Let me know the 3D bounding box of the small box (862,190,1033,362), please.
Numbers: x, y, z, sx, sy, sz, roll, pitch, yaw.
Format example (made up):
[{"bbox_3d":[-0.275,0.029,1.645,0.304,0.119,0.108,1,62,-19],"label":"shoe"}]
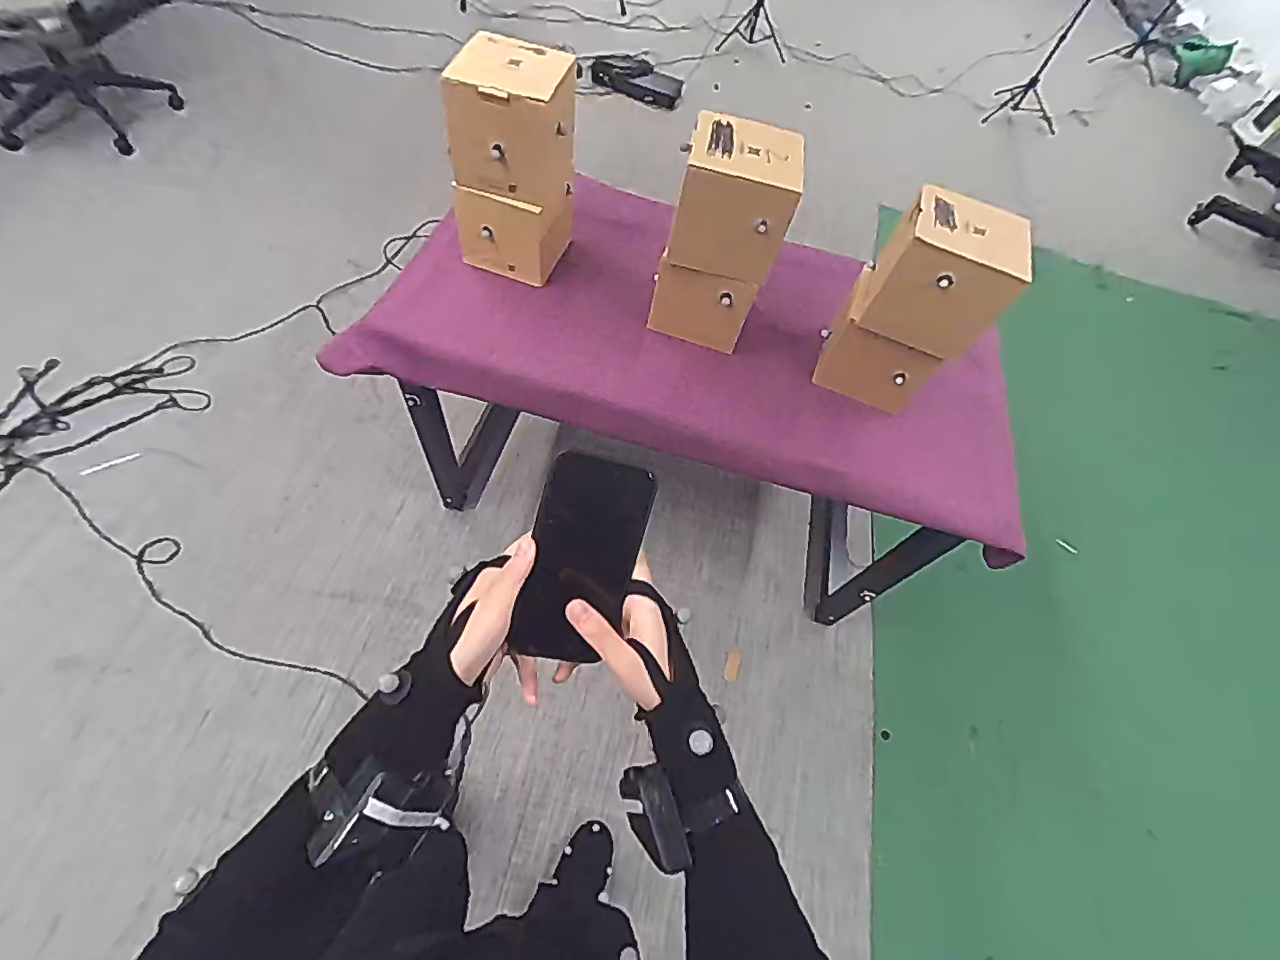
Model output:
[{"bbox_3d":[0.483,-0.319,0.864,0.179,0.176,0.168,23,58,4],"label":"small box"}]

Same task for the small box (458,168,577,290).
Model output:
[{"bbox_3d":[-0.229,-0.504,1.053,0.168,0.176,0.179,19,58,2],"label":"small box"}]

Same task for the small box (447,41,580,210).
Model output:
[{"bbox_3d":[-0.204,-0.595,0.918,0.168,0.176,0.179,14,59,-1],"label":"small box"}]

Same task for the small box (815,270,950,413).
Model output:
[{"bbox_3d":[0.456,-0.250,1.011,0.179,0.176,0.168,23,58,6],"label":"small box"}]

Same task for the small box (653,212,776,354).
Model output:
[{"bbox_3d":[0.137,-0.367,1.029,0.179,0.176,0.168,18,58,2],"label":"small box"}]
